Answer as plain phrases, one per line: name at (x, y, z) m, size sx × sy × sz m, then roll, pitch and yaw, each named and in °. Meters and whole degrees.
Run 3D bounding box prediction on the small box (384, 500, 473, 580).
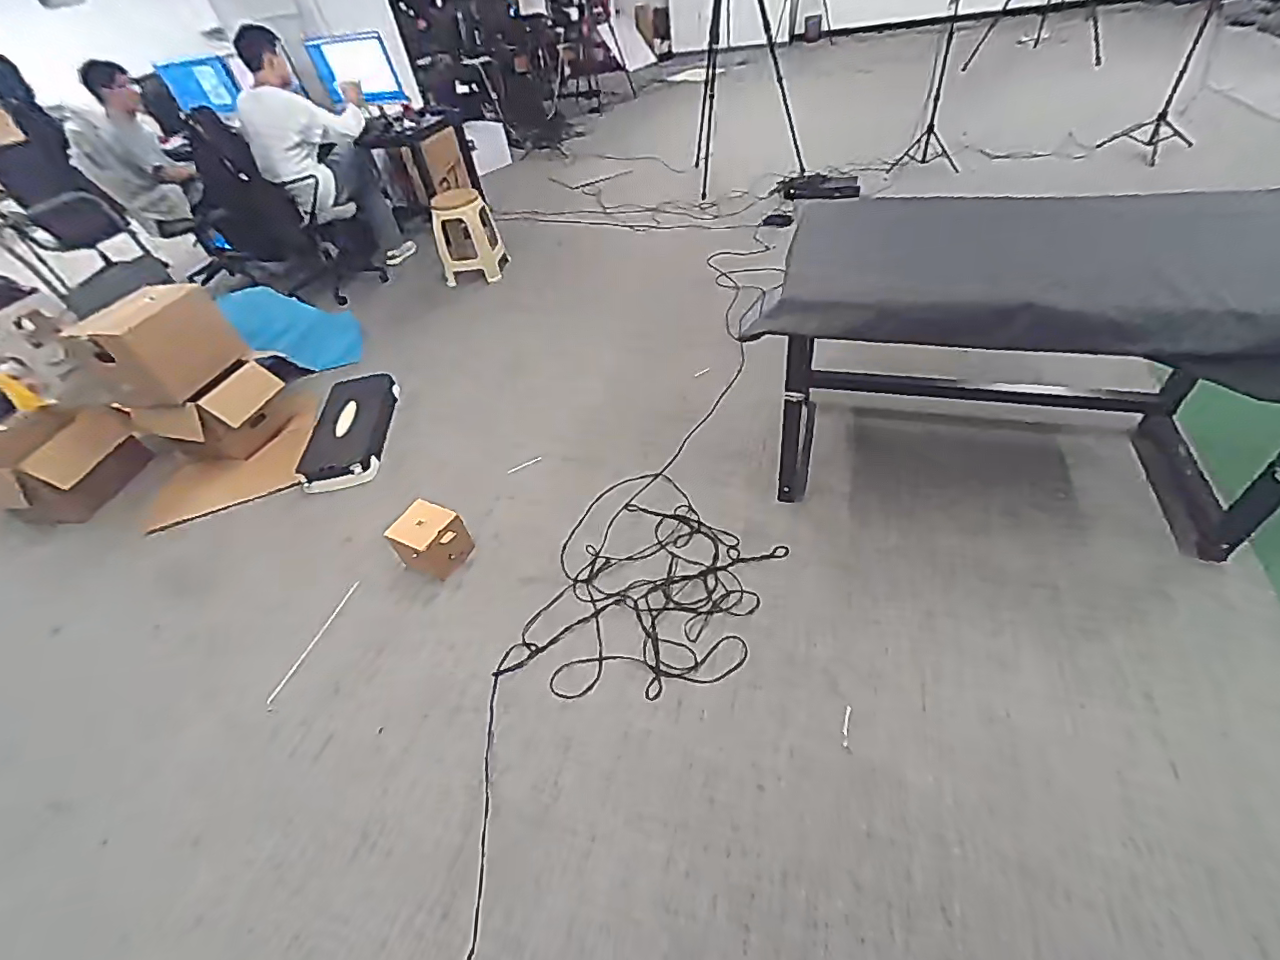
small box at (-0.681, 0.197, 1.757) m, size 0.179 × 0.176 × 0.168 m, roll 16°, pitch 50°, yaw 23°
